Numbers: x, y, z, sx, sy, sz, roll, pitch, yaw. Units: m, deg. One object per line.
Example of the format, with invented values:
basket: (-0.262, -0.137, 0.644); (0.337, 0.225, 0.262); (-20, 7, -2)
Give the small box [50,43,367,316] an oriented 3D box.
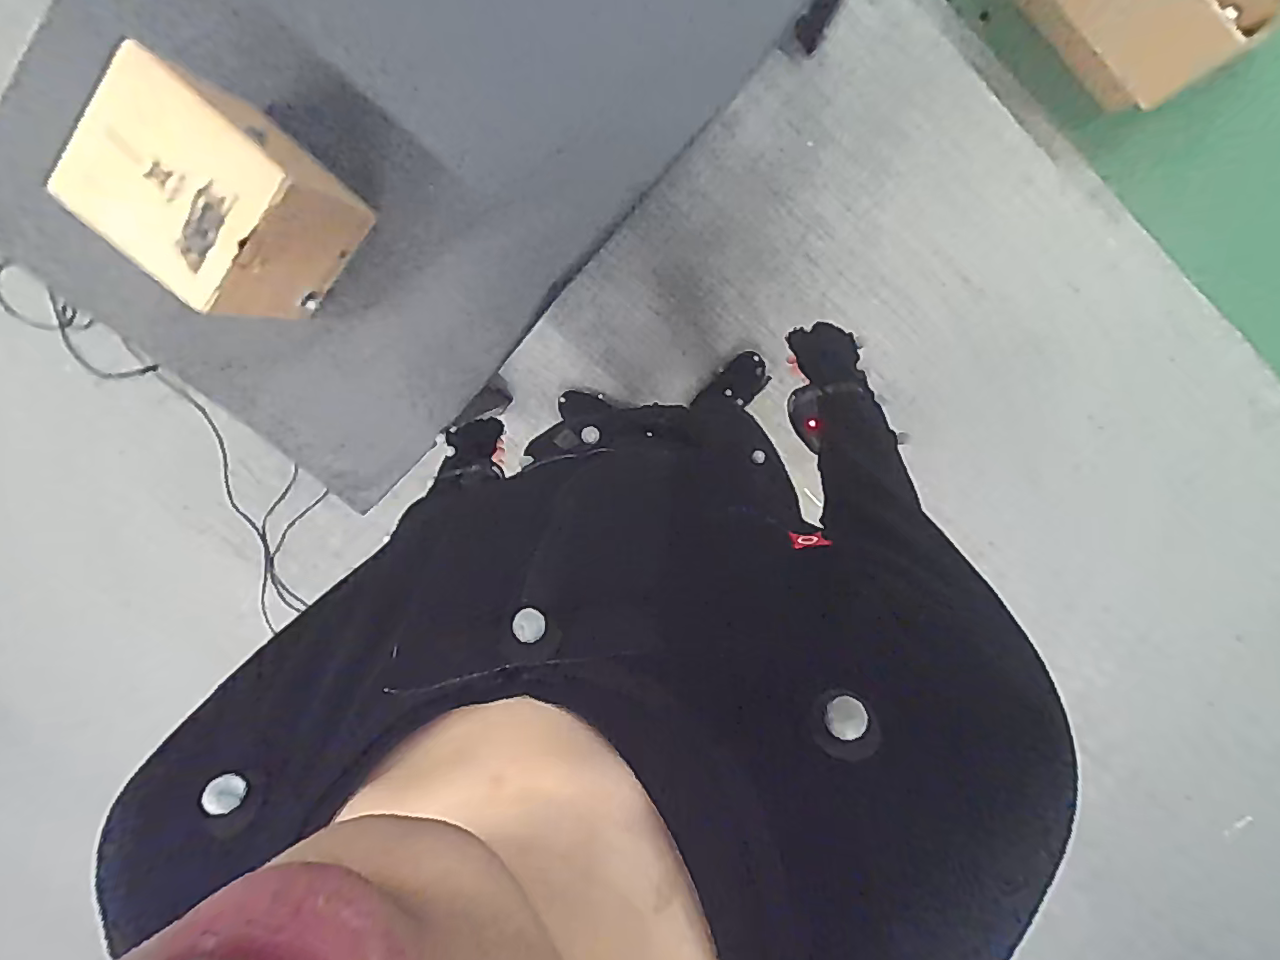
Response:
small box: (-0.442, -0.299, 0.587); (0.179, 0.176, 0.168); (41, 102, -8)
